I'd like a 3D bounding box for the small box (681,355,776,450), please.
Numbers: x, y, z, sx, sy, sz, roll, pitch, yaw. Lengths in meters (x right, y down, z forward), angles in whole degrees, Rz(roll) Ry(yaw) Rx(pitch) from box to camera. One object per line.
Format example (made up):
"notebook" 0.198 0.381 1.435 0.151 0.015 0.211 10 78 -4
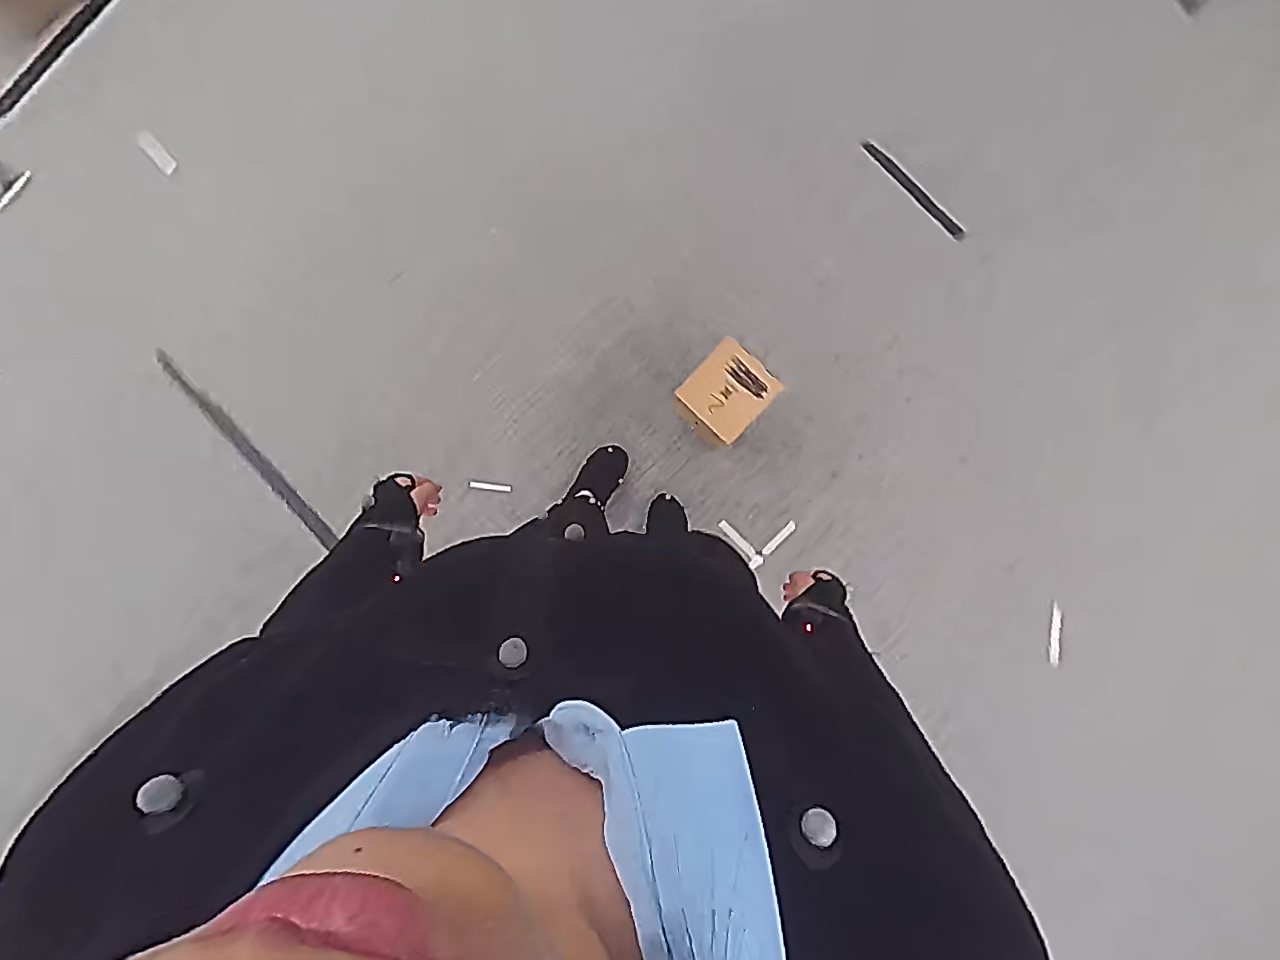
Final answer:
"small box" 0.219 -0.193 1.401 0.179 0.176 0.168 -45 89 3
